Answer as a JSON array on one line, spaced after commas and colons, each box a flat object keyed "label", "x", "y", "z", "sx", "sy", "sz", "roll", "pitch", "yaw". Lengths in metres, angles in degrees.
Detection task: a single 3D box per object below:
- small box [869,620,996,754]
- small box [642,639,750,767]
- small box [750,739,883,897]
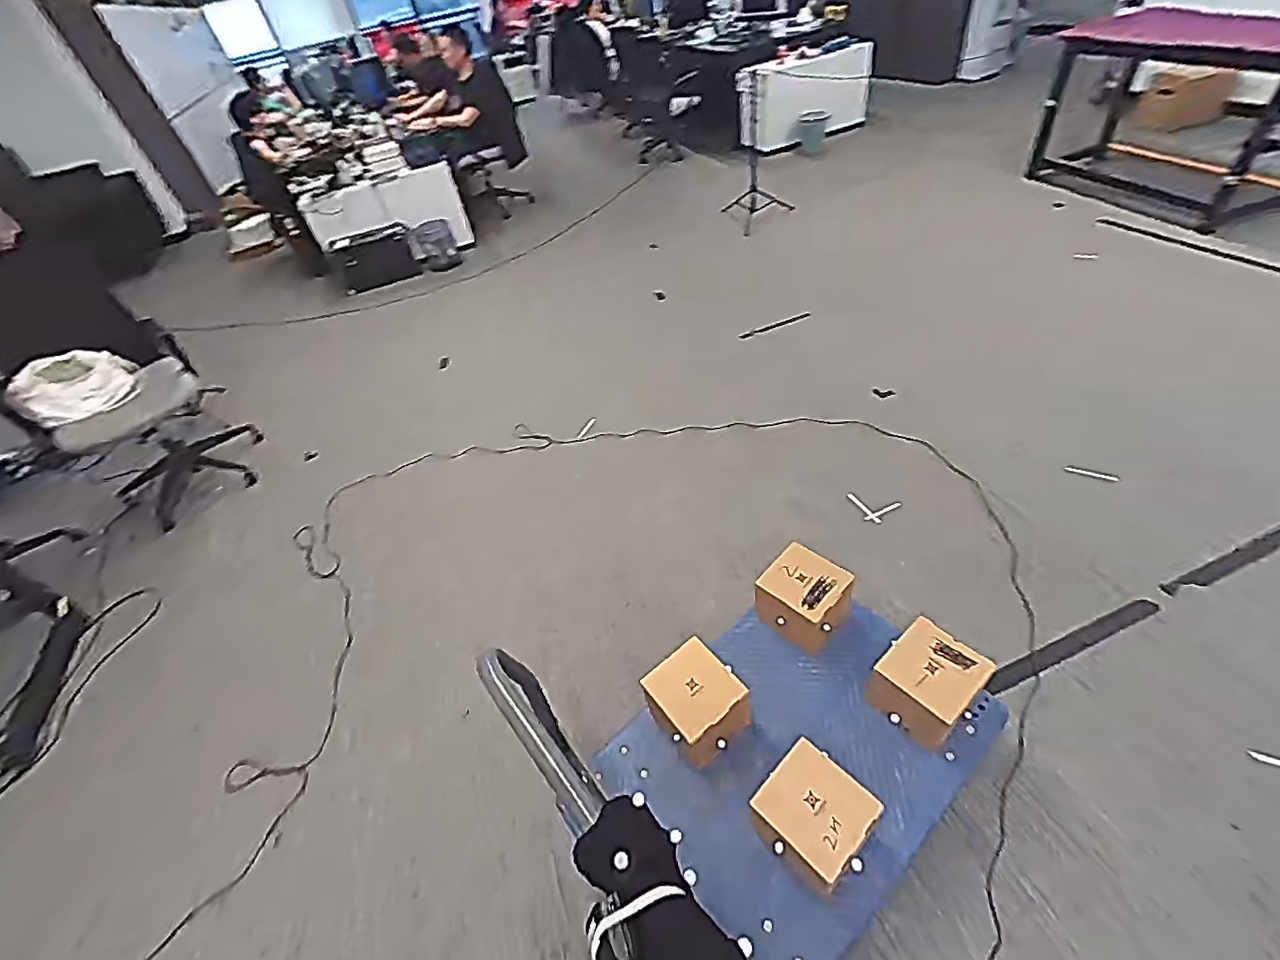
[{"label": "small box", "x": 0.616, "y": 0.445, "z": 1.163, "sx": 0.179, "sy": 0.176, "sz": 0.168, "roll": -36, "pitch": 48, "yaw": -21}, {"label": "small box", "x": 0.126, "y": 0.502, "z": 1.215, "sx": 0.168, "sy": 0.176, "sz": 0.179, "roll": -33, "pitch": 49, "yaw": -21}, {"label": "small box", "x": 0.327, "y": 0.643, "z": 1.026, "sx": 0.168, "sy": 0.176, "sz": 0.179, "roll": -37, "pitch": 49, "yaw": -23}]
